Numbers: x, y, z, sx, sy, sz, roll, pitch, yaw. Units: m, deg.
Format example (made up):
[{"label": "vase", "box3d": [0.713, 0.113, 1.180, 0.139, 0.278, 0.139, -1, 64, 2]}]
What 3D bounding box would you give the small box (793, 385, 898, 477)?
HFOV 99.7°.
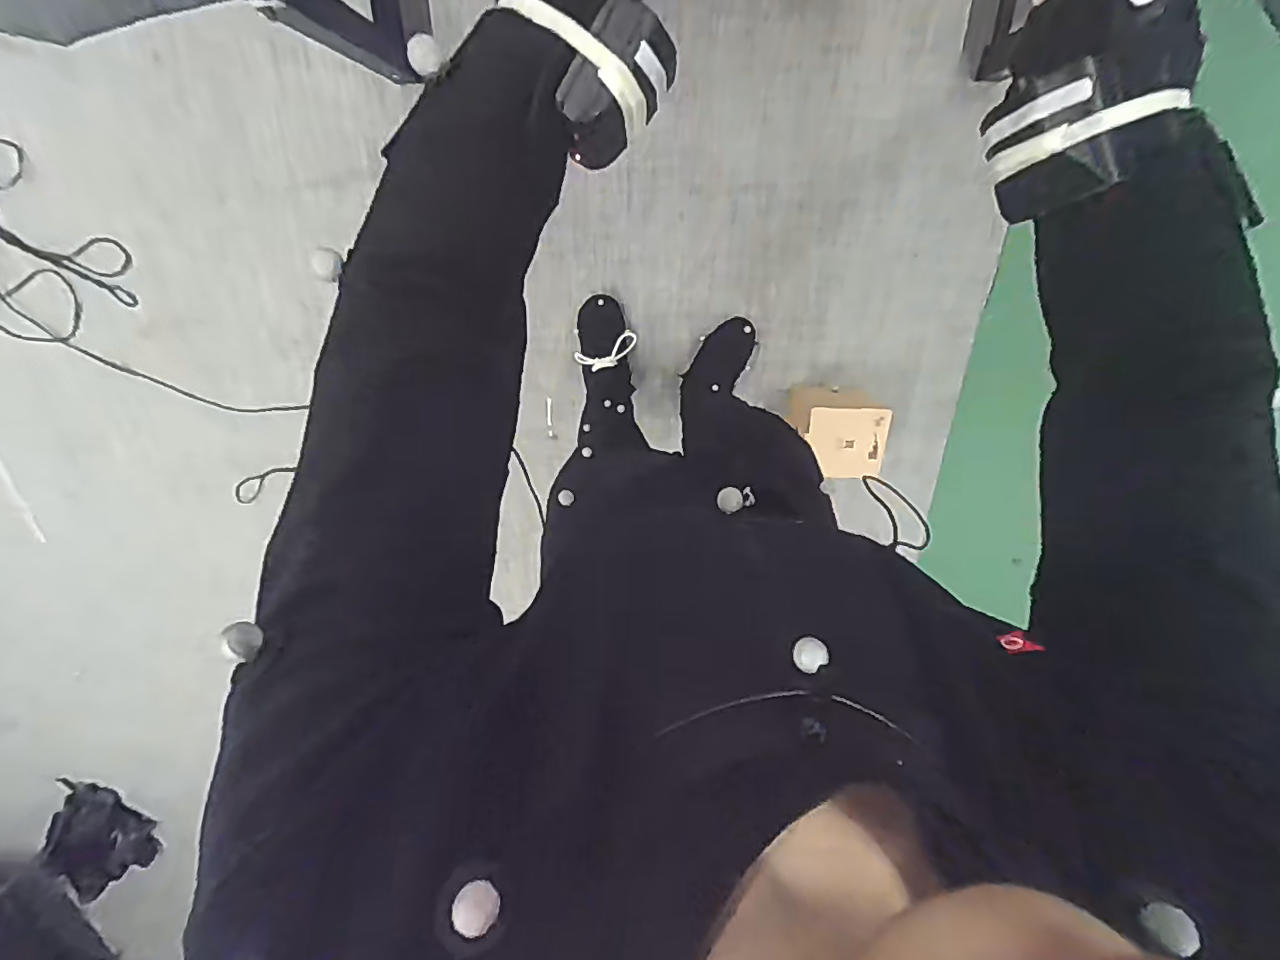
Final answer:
[{"label": "small box", "box3d": [0.460, -0.118, 1.246, 0.179, 0.176, 0.168, 2, 115, 3]}]
